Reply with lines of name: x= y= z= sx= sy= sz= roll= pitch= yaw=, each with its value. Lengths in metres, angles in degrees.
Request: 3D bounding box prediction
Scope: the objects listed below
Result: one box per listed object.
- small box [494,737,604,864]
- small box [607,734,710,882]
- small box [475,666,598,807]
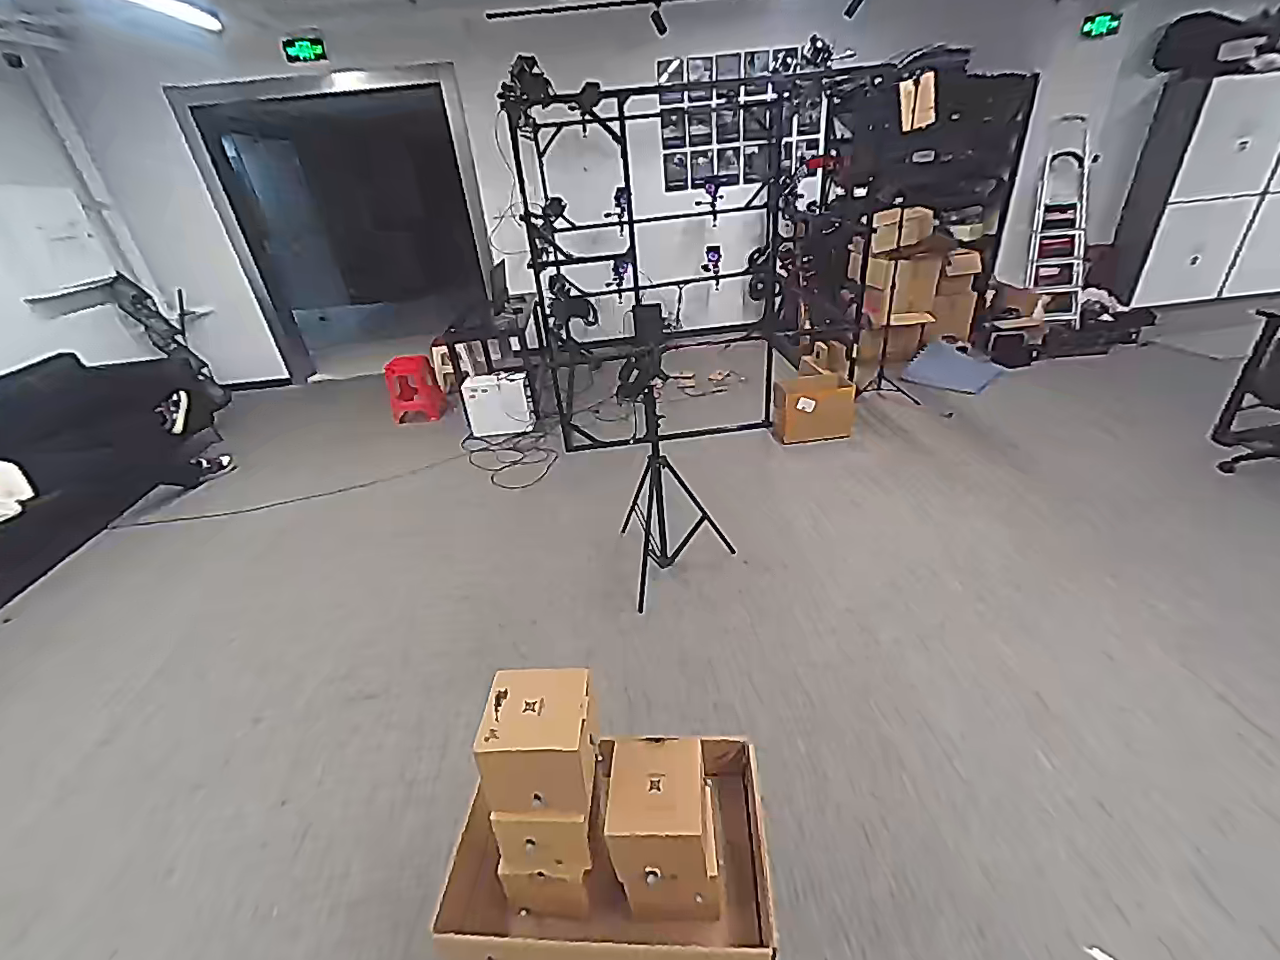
small box: x=-0.163 y=0.602 z=1.036 sx=0.168 sy=0.176 sz=0.179 roll=-1 pitch=29 yaw=4
small box: x=0.041 y=0.600 z=0.997 sx=0.168 sy=0.176 sz=0.179 roll=-4 pitch=30 yaw=8
small box: x=-0.171 y=0.455 z=0.964 sx=0.179 sy=0.176 sz=0.168 roll=-1 pitch=29 yaw=3
